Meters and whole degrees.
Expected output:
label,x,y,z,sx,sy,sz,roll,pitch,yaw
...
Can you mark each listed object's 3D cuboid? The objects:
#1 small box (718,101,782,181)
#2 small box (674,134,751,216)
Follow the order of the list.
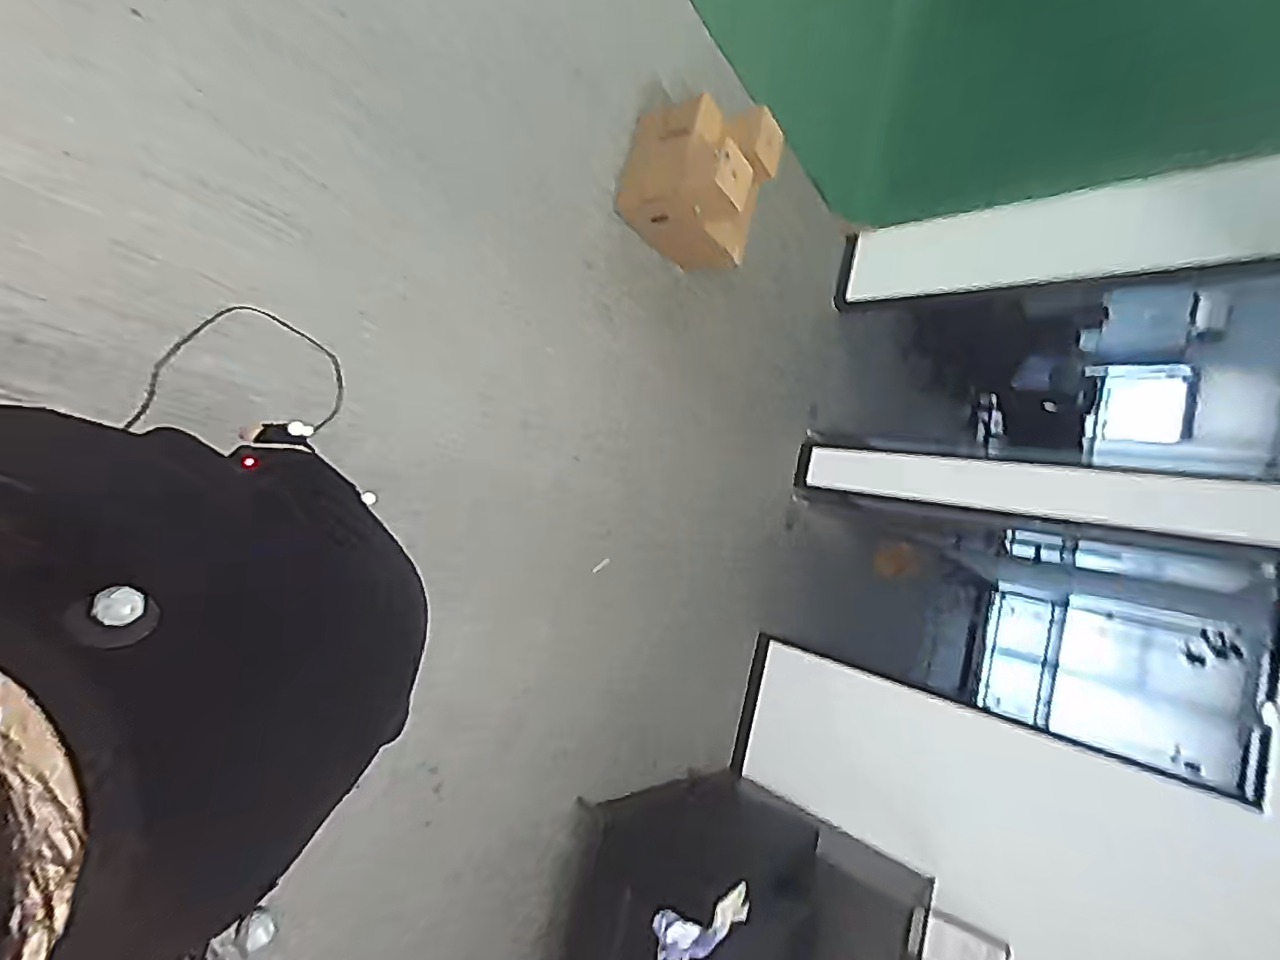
label,x,y,z,sx,sy,sz,roll,pitch,yaw
small box,0.387,-1.203,1.947,0.168,0.176,0.179,17,84,-51
small box,0.243,-1.012,1.814,0.179,0.176,0.168,22,82,-49
